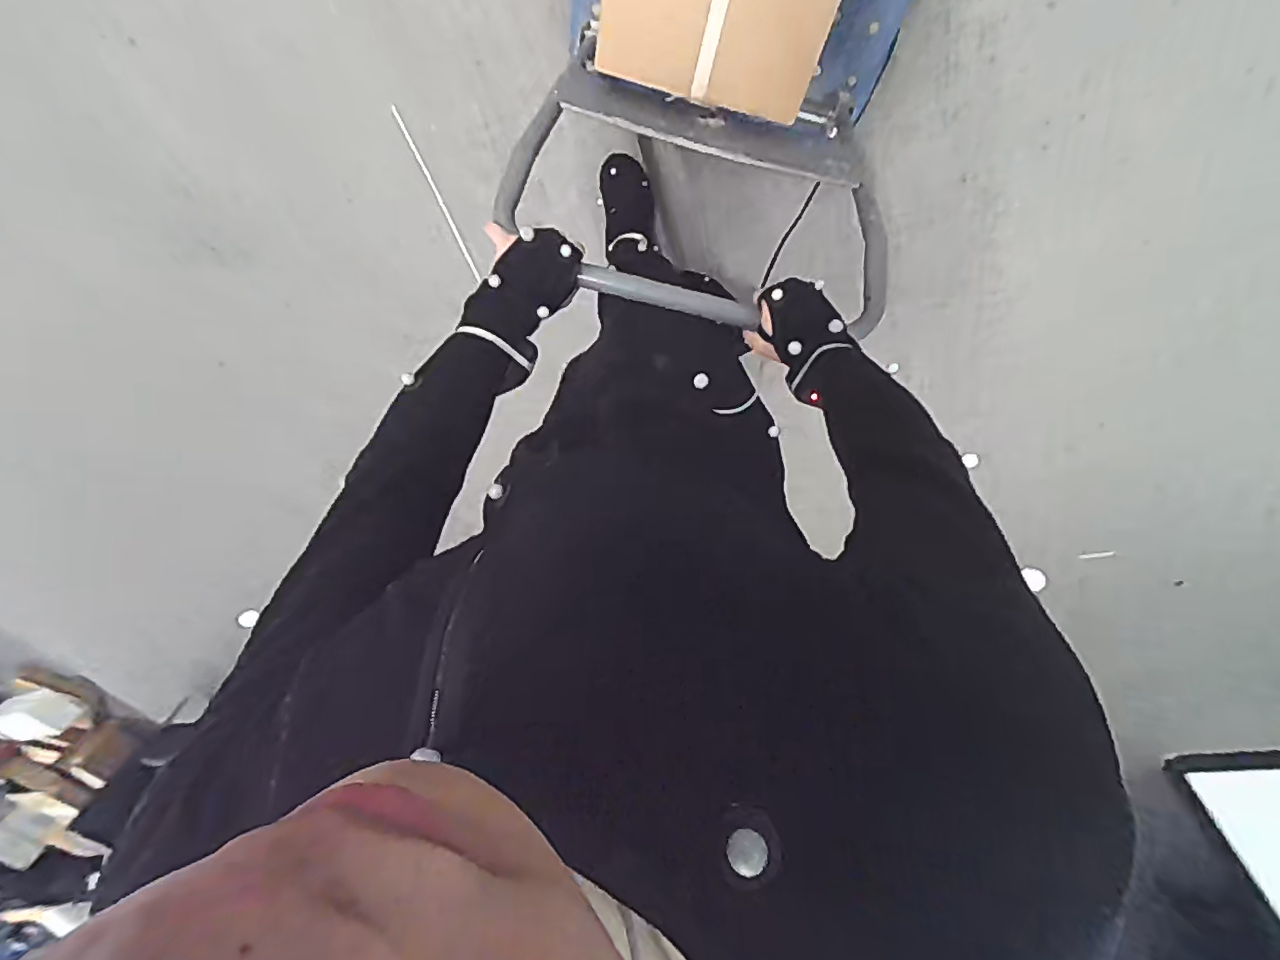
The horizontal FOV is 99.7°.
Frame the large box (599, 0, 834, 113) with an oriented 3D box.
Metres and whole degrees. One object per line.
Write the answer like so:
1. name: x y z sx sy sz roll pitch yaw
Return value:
1. large box: 0.143 -0.828 0.769 0.320 0.320 0.408 13 139 -5
